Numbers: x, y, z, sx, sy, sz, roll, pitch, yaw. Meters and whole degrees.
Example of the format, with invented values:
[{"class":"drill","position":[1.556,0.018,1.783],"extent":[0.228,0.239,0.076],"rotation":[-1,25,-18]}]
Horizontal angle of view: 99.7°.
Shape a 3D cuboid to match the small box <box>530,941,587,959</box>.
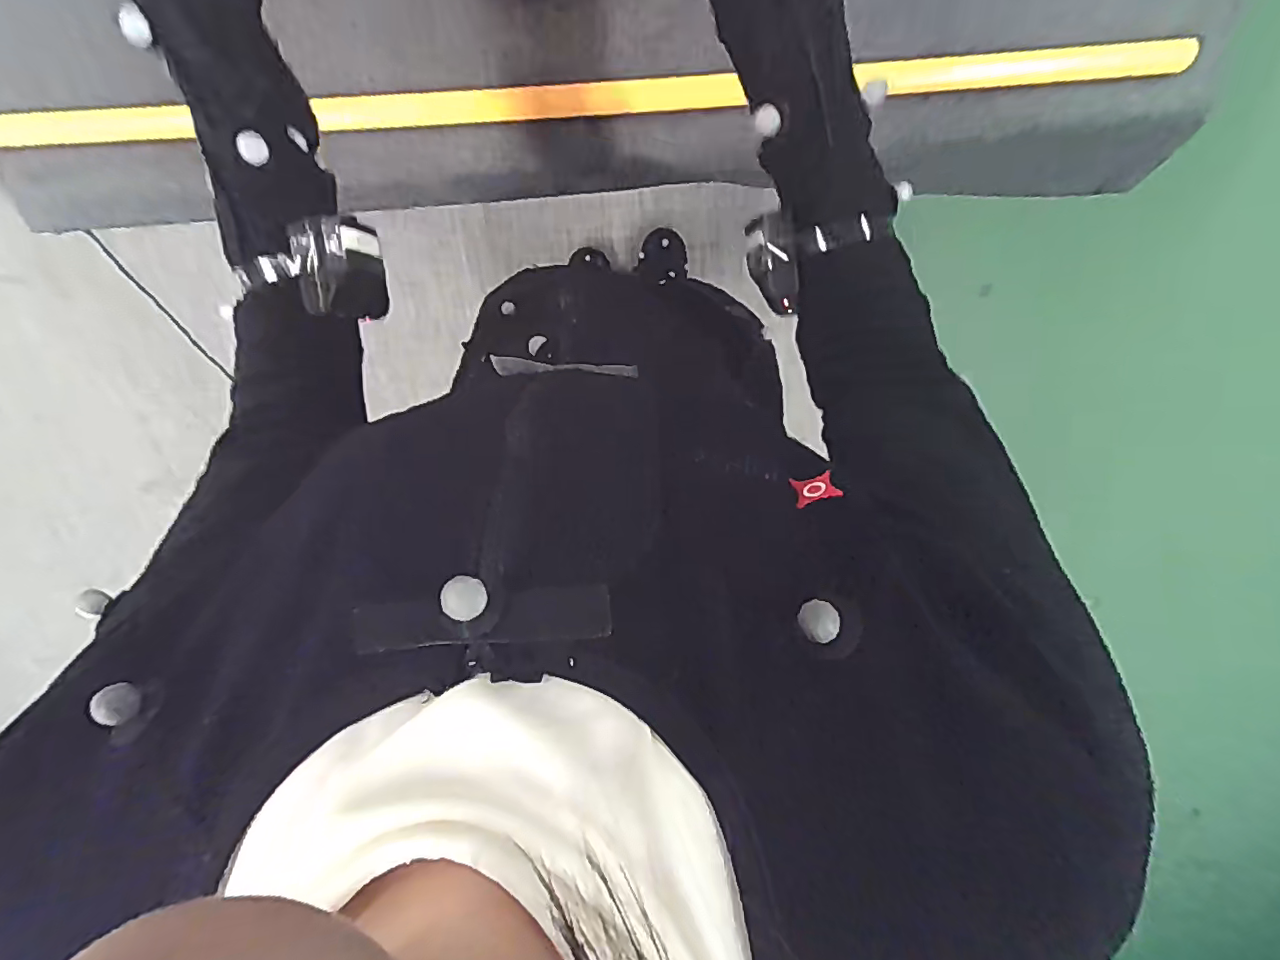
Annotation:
[{"class":"small box","position":[-0.272,1.679,1.801],"extent":[0.168,0.176,0.179],"rotation":[-10,117,3]}]
